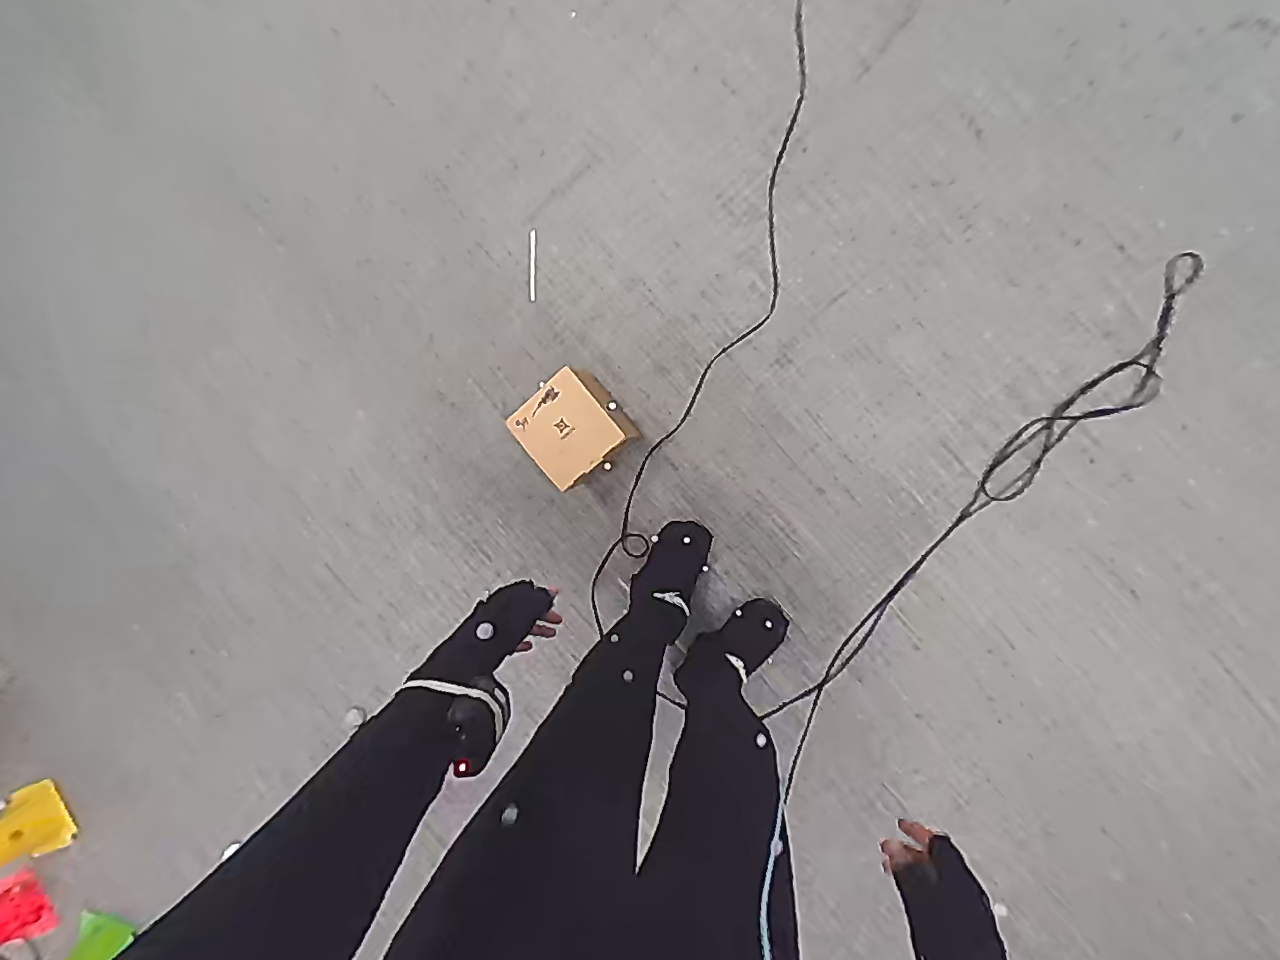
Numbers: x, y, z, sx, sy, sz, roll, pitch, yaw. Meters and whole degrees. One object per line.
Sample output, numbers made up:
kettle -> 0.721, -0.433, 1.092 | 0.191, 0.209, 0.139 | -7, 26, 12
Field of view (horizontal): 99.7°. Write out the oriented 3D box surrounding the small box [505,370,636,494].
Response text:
small box -> -0.128, -0.098, 1.076 | 0.168, 0.176, 0.179 | -39, 90, 11
